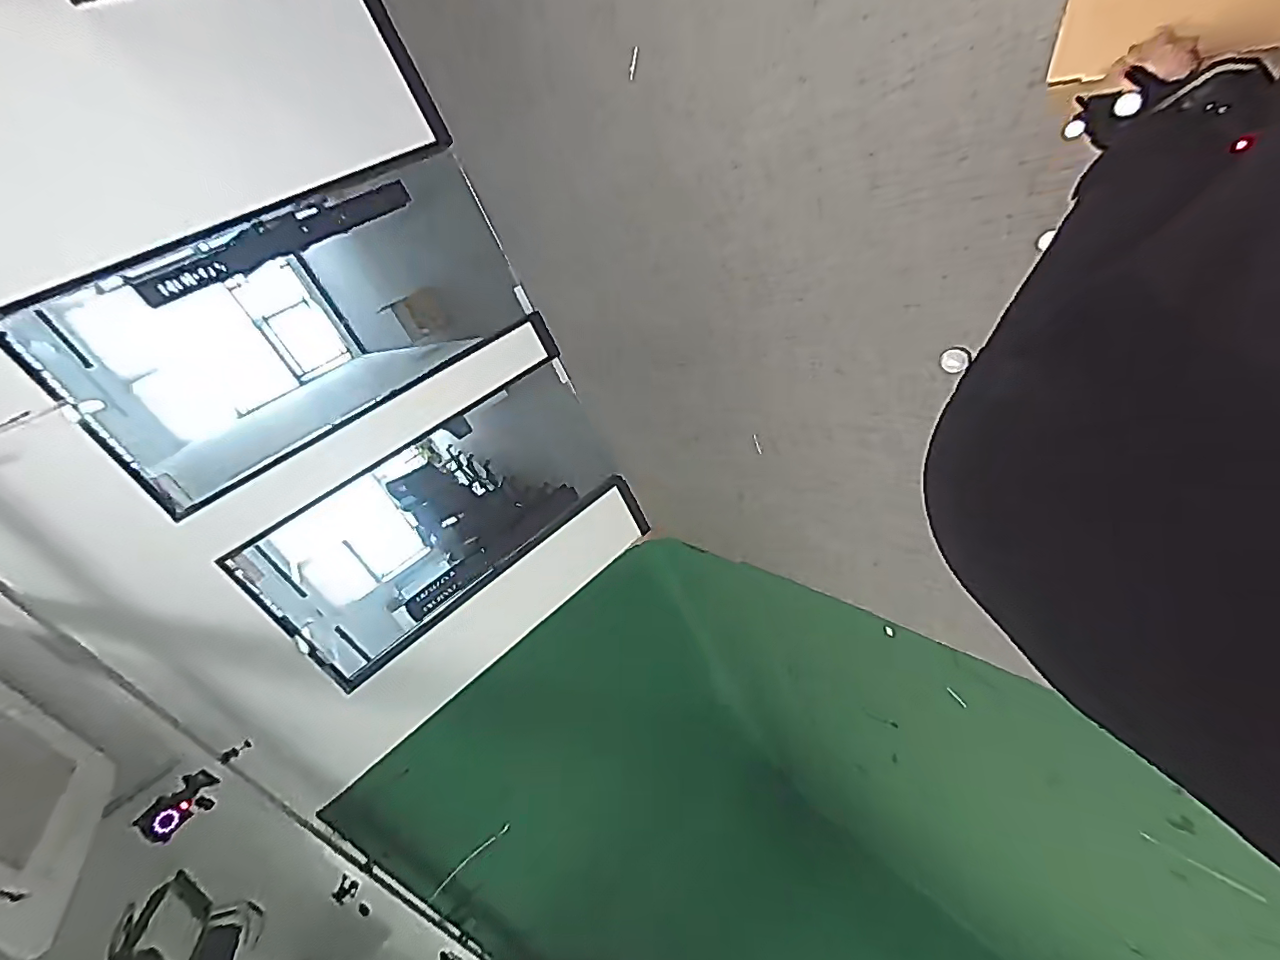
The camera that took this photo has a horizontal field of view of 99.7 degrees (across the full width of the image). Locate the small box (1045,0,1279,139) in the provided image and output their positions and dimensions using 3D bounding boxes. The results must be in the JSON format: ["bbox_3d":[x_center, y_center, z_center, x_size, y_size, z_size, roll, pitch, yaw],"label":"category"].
[{"bbox_3d":[0.520,-0.454,0.517,0.168,0.179,0.176,20,115,40],"label":"small box"}]
